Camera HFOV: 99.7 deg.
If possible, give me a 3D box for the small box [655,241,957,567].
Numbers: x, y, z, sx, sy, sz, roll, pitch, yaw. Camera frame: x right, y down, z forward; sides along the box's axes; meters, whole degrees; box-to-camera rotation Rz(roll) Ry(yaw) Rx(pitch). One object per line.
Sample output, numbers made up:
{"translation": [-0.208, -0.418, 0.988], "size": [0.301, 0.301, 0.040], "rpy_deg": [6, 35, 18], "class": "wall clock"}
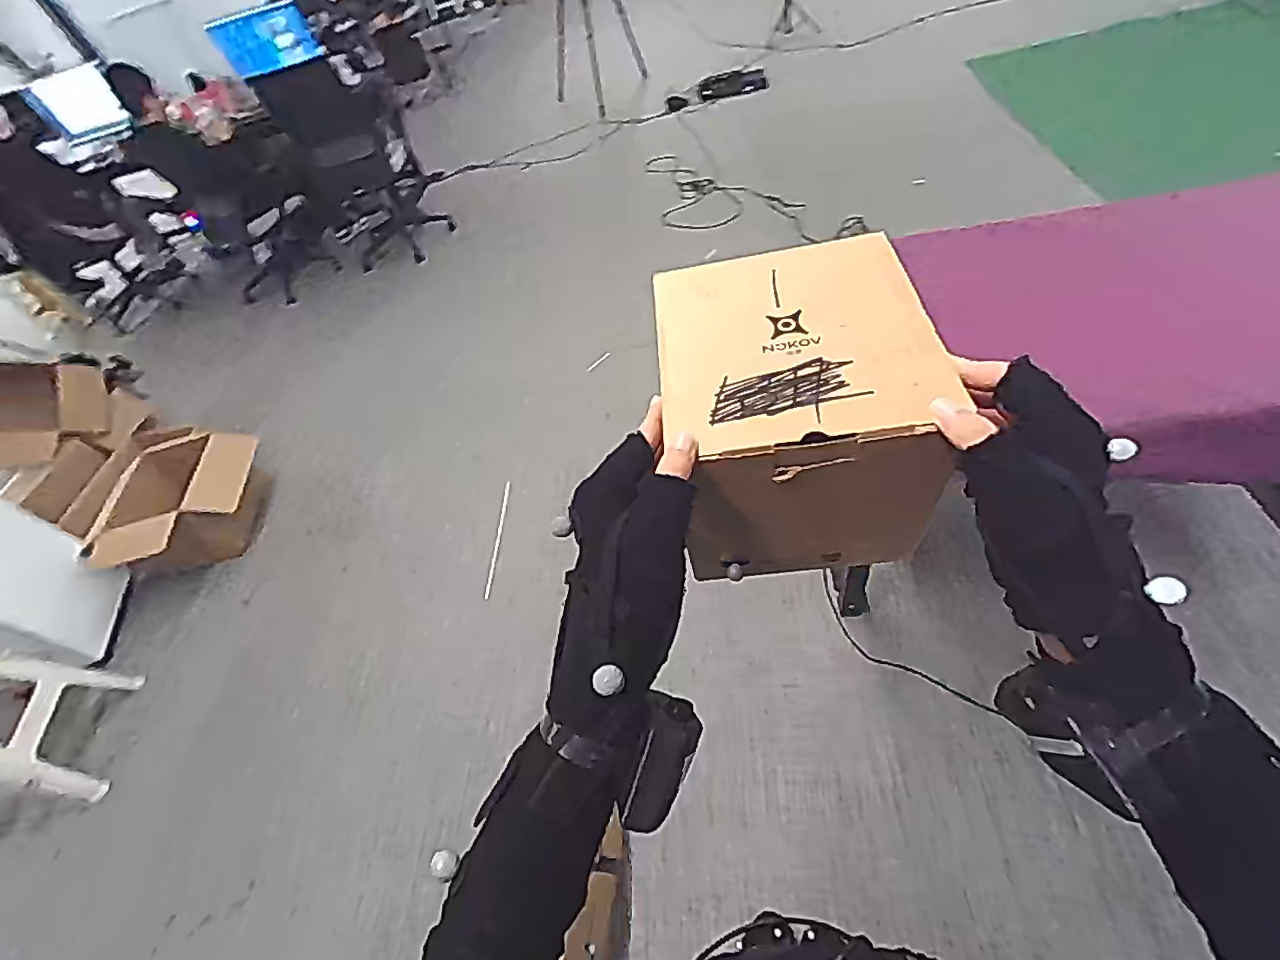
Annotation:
{"translation": [0.108, -0.044, 0.412], "size": [0.168, 0.176, 0.179], "rpy_deg": [-7, 54, 9], "class": "small box"}
